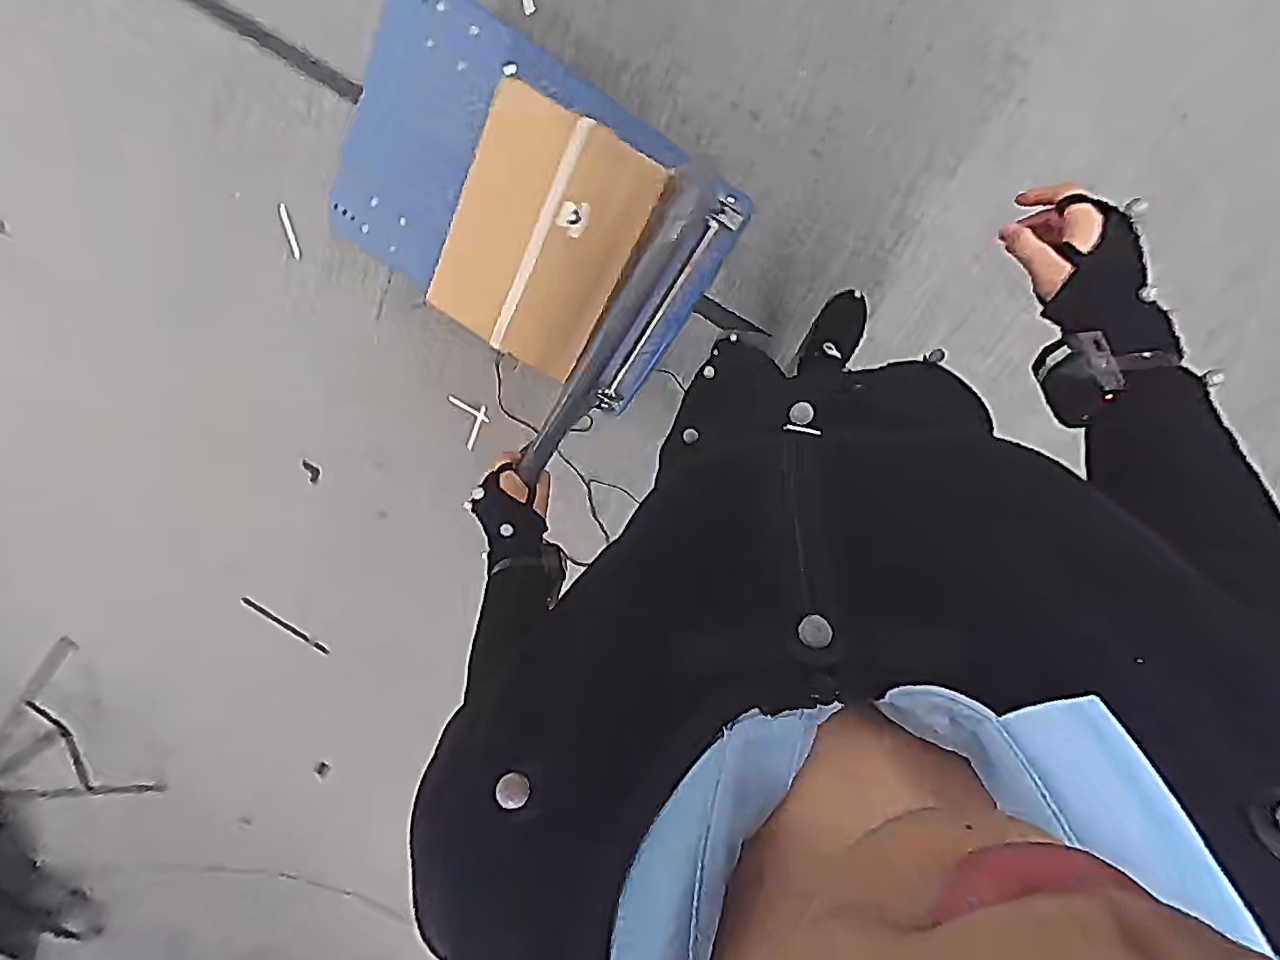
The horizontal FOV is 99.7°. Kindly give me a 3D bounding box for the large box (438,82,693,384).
[{"bbox_3d":[-0.135,-0.461,1.089,0.320,0.320,0.408,31,113,-1],"label":"large box"}]
